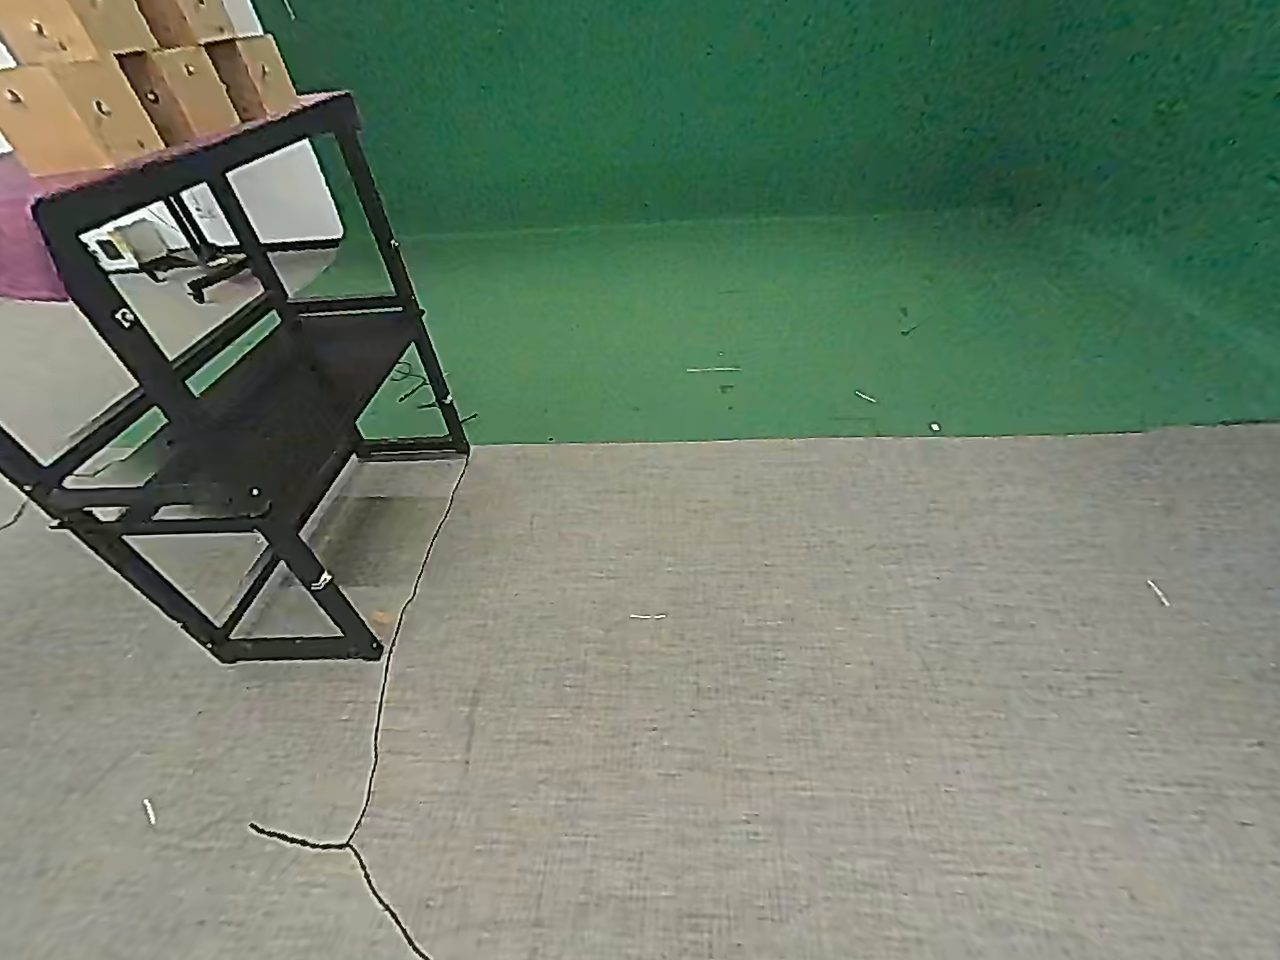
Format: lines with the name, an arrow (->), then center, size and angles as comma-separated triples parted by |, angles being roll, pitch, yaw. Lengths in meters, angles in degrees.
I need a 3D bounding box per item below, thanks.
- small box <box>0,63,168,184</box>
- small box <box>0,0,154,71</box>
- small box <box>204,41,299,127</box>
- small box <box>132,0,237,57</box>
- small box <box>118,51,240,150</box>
small box -> -1.106, -0.700, 1.065 | 0.179, 0.176, 0.168 | -3, 42, 5
small box -> -1.123, -0.918, 1.062 | 0.168, 0.176, 0.179 | -3, 42, 4
small box -> -1.083, -1.081, 1.483 | 0.168, 0.176, 0.179 | -1, 44, 4
small box -> -1.104, -1.103, 1.264 | 0.179, 0.176, 0.168 | -3, 43, 4
small box -> -1.098, -0.885, 1.268 | 0.168, 0.176, 0.179 | -2, 42, 5
